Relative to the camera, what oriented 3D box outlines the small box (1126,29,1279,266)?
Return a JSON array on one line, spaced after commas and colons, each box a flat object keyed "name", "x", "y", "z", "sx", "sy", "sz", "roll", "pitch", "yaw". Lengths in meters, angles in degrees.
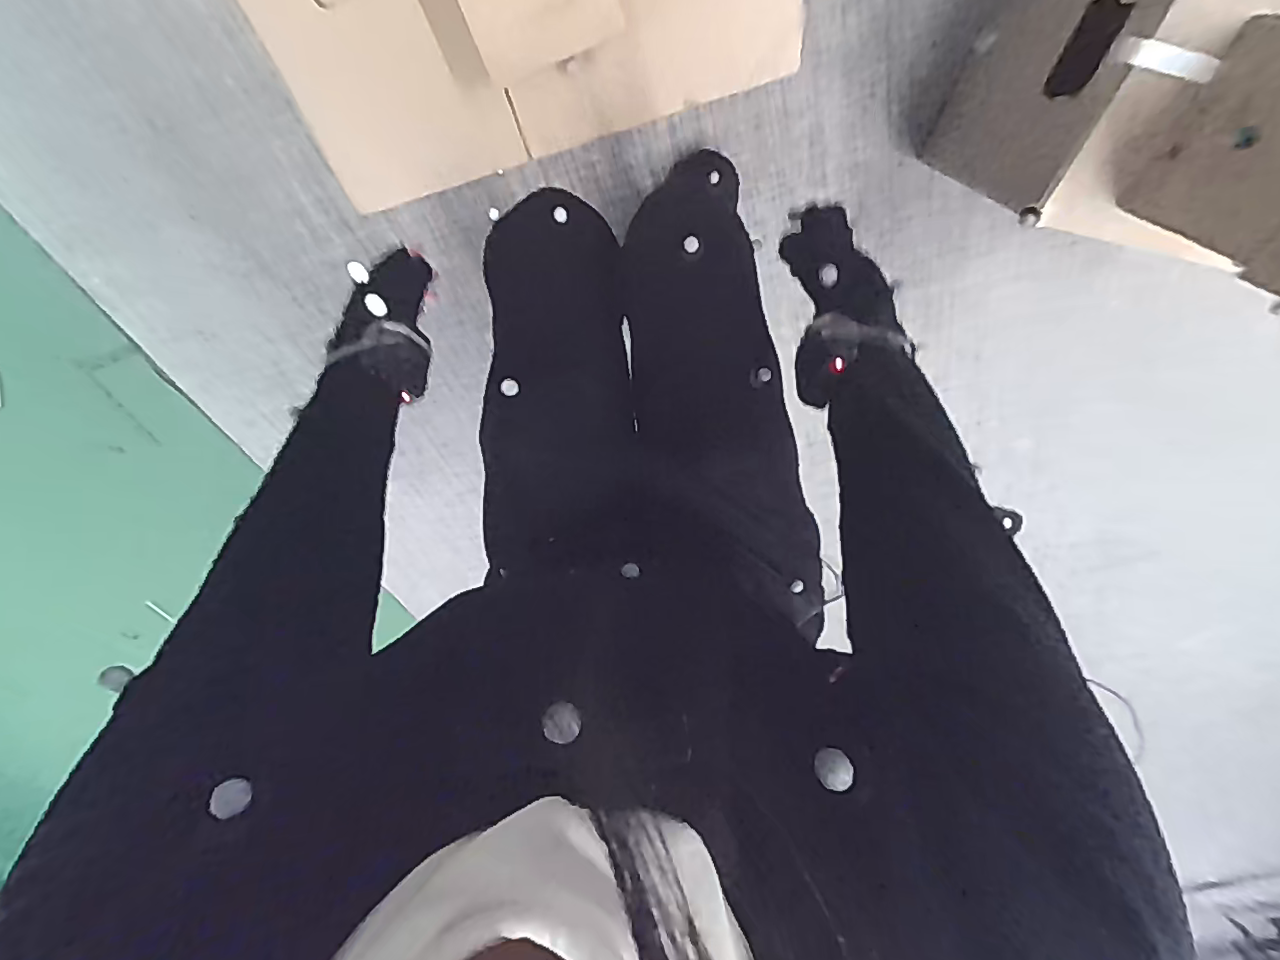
[{"name": "small box", "x": 0.613, "y": -0.291, "z": 0.485, "sx": 0.179, "sy": 0.176, "sz": 0.168, "roll": 4, "pitch": 129, "yaw": -5}]
